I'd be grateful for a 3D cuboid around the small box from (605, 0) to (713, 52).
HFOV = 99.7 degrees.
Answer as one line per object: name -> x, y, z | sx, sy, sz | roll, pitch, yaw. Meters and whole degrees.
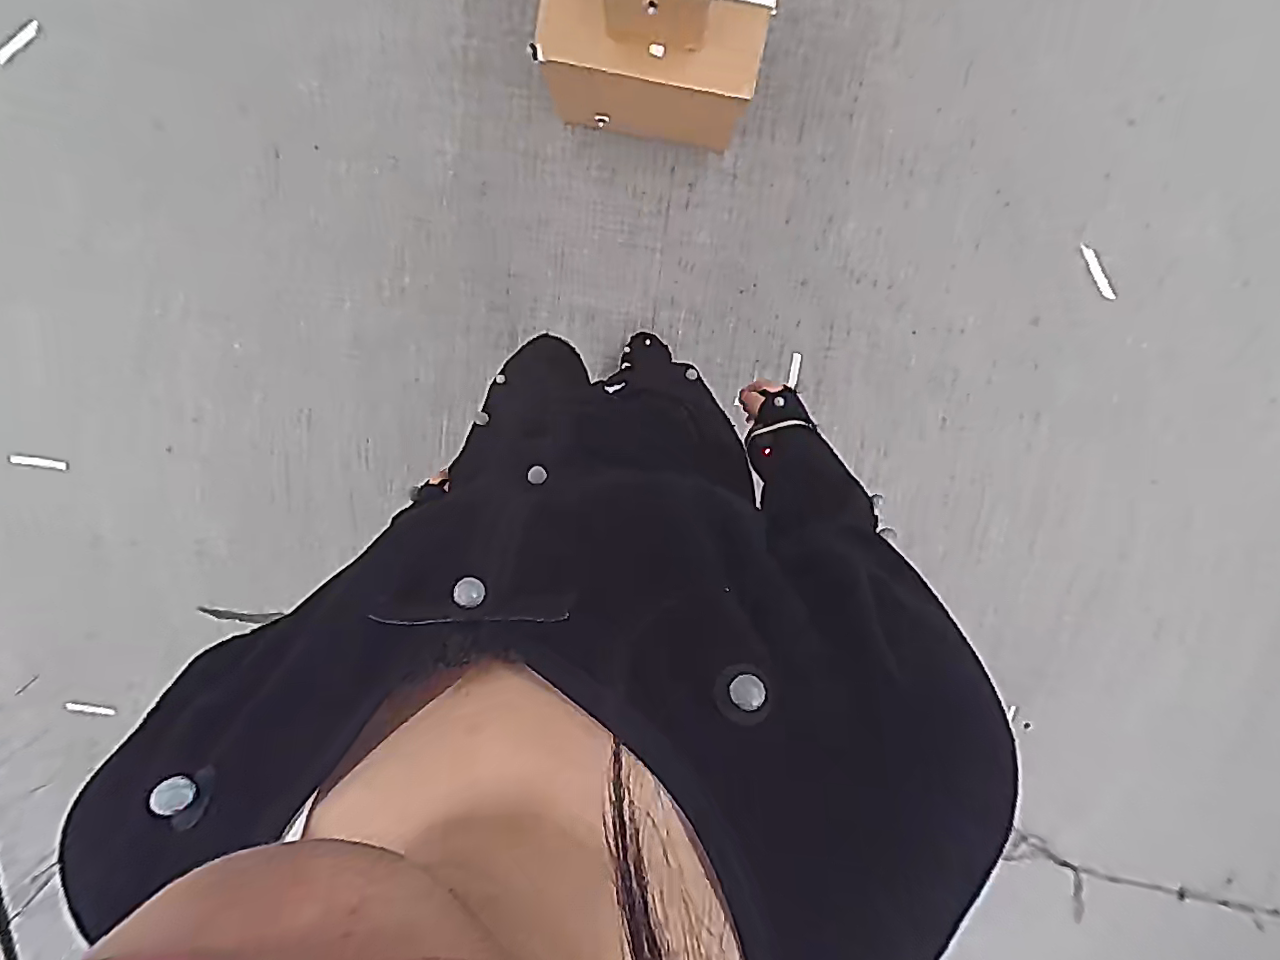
small box -> 0.037, -0.833, 0.872 | 0.179, 0.176, 0.168 | 8, 106, -2
